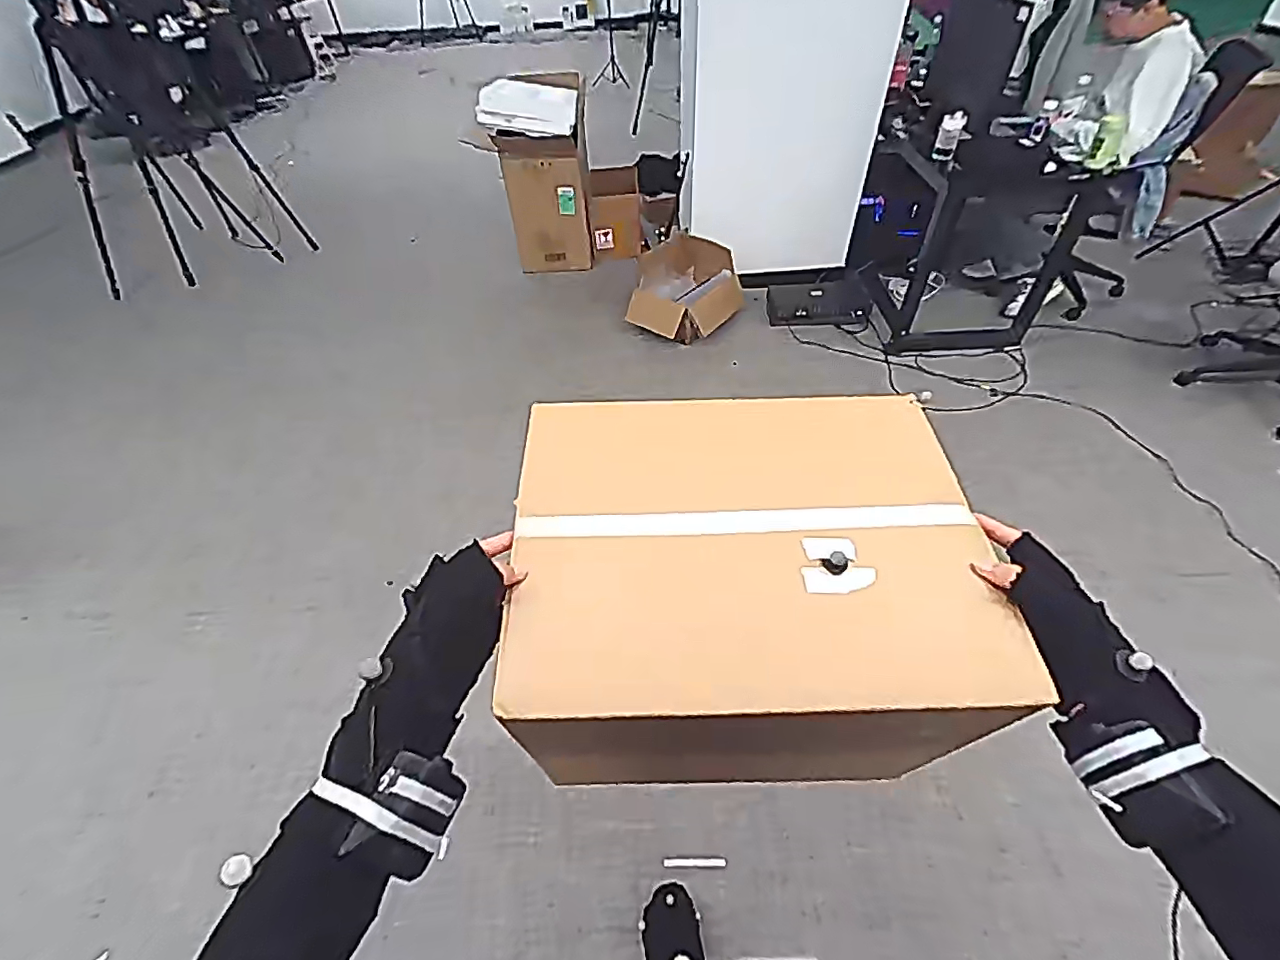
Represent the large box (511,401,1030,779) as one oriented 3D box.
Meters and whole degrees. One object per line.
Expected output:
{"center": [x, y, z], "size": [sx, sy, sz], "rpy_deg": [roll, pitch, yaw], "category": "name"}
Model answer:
{"center": [0.094, 0.132, 0.611], "size": [0.408, 0.320, 0.320], "rpy_deg": [-2, 53, -1], "category": "large box"}
